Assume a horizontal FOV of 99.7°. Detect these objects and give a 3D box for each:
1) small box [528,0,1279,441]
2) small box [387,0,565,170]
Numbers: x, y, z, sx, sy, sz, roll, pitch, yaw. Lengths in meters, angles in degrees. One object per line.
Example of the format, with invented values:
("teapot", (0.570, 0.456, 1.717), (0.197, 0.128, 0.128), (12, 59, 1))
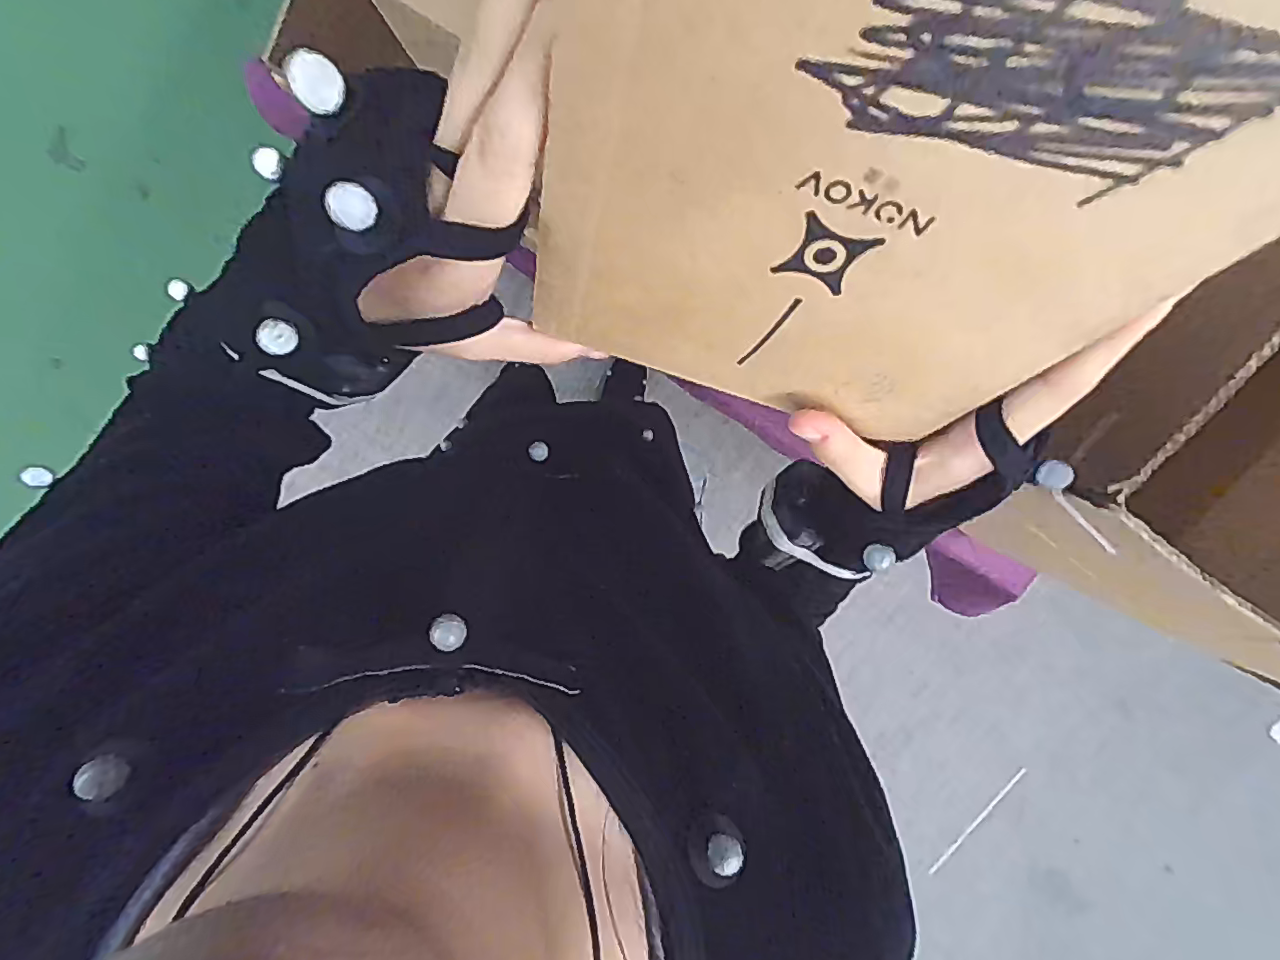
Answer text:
("small box", (0.070, -0.141, 0.181), (0.168, 0.179, 0.176), (17, 68, -8))
("small box", (-0.052, -0.335, 0.393), (0.179, 0.176, 0.168), (30, 100, -8))
